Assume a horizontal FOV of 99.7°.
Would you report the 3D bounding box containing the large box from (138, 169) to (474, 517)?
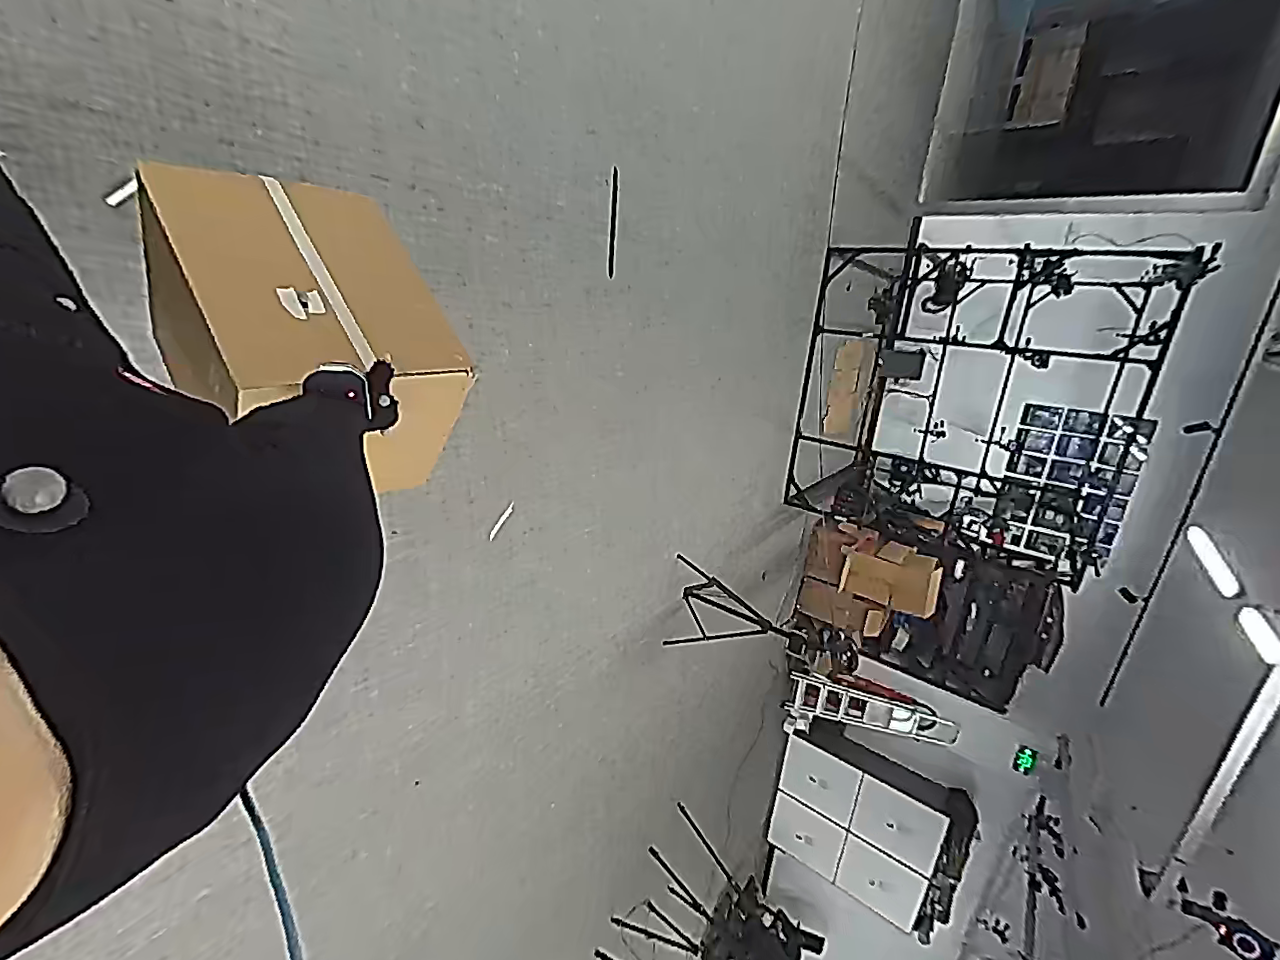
[{"bbox_3d":[-0.548,-0.212,0.886,0.320,0.408,0.320,-20,161,-46],"label":"large box"}]
